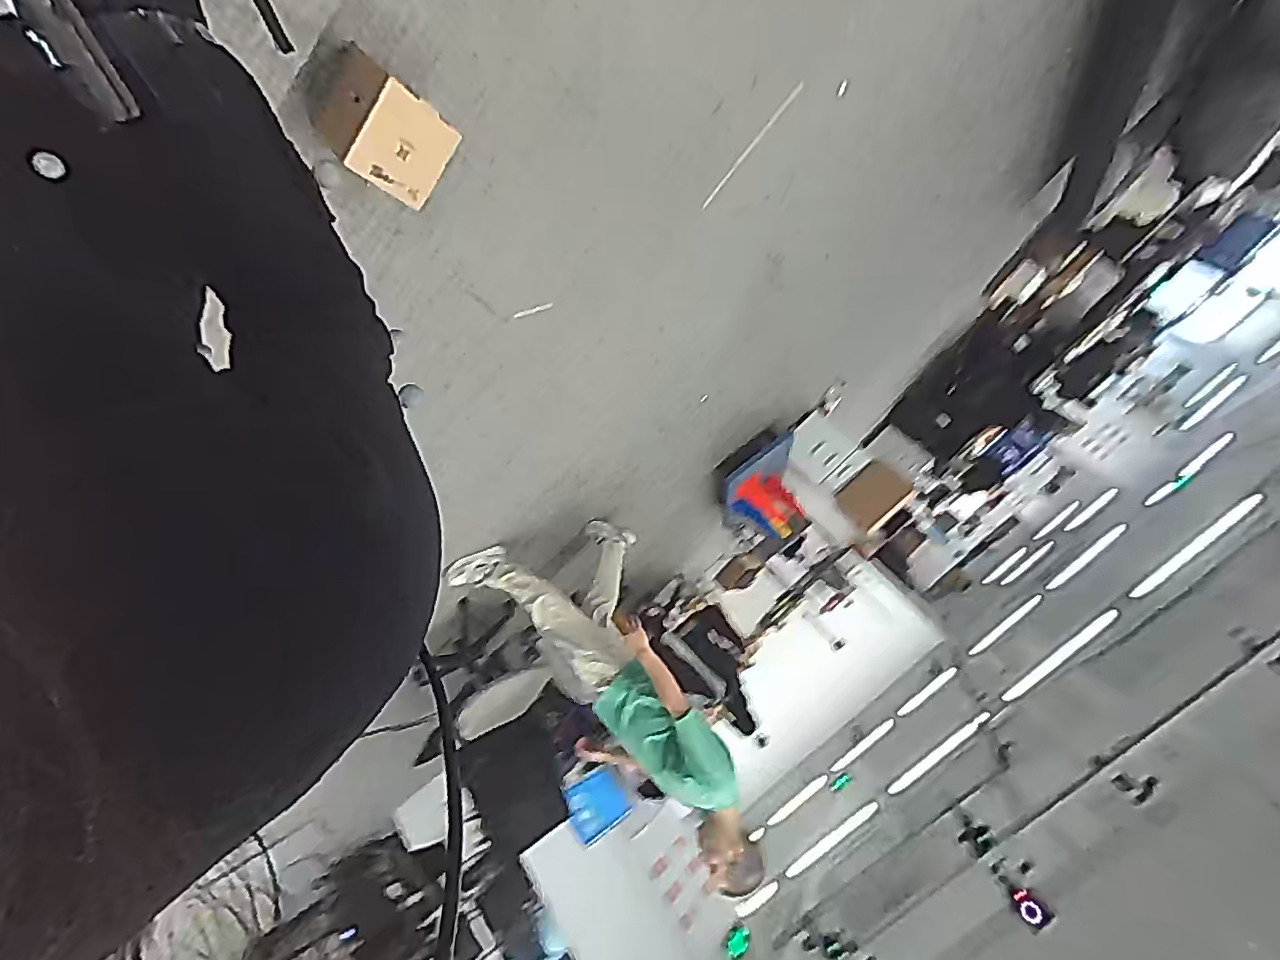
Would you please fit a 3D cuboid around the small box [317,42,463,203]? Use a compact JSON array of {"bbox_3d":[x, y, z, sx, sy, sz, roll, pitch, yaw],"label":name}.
[{"bbox_3d":[-0.488,-0.690,1.048,0.179,0.176,0.168,-50,154,16],"label":"small box"}]
